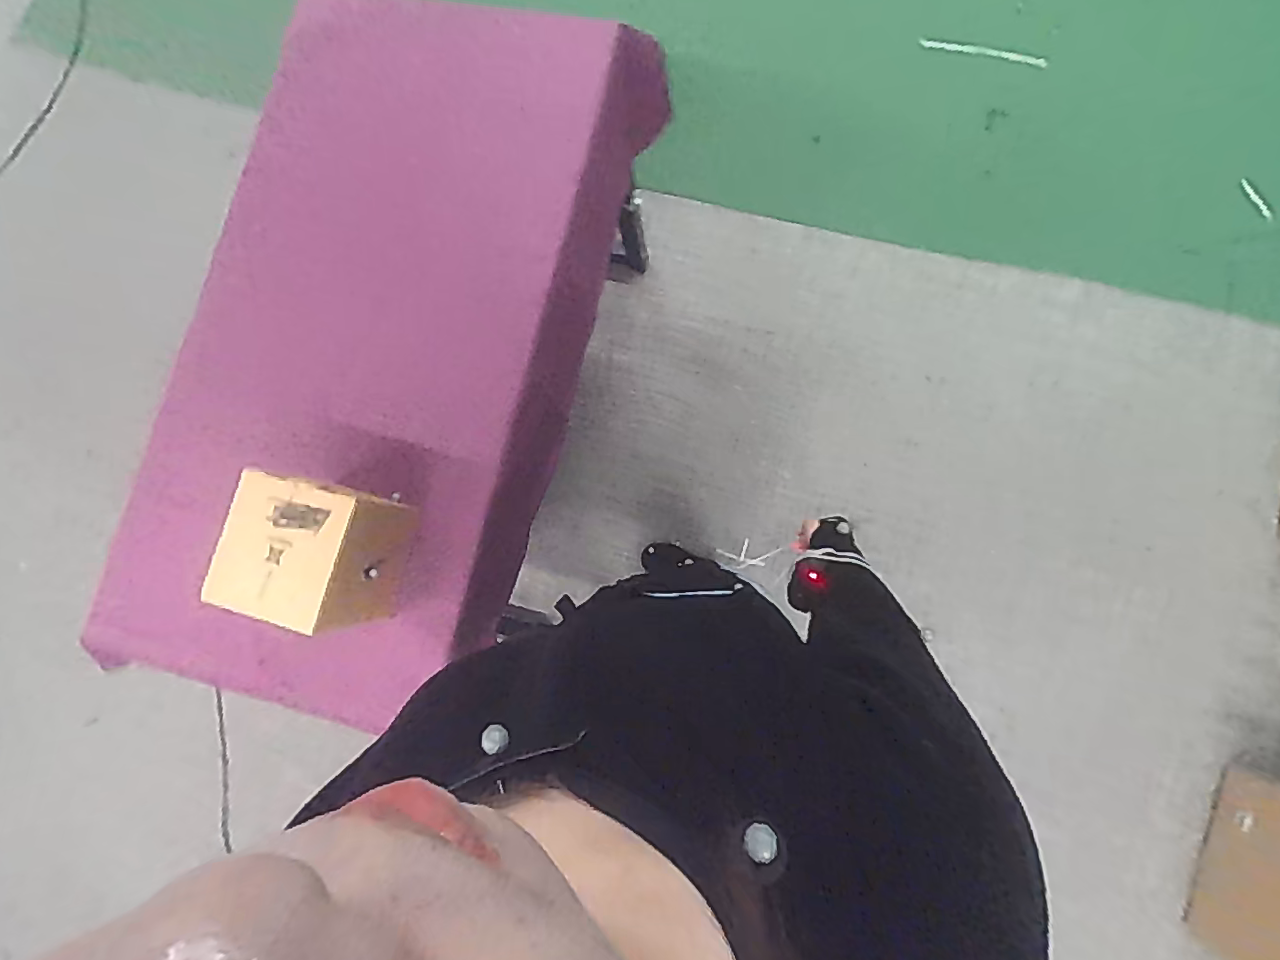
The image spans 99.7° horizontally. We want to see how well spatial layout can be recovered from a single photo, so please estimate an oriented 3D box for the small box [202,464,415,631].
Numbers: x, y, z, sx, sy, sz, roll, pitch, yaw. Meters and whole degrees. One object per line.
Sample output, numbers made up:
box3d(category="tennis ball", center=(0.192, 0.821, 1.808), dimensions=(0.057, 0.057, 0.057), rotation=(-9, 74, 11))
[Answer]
box3d(category="small box", center=(-0.445, 0.092, 0.758), dimensions=(0.168, 0.176, 0.179), rotation=(14, 85, 8))
